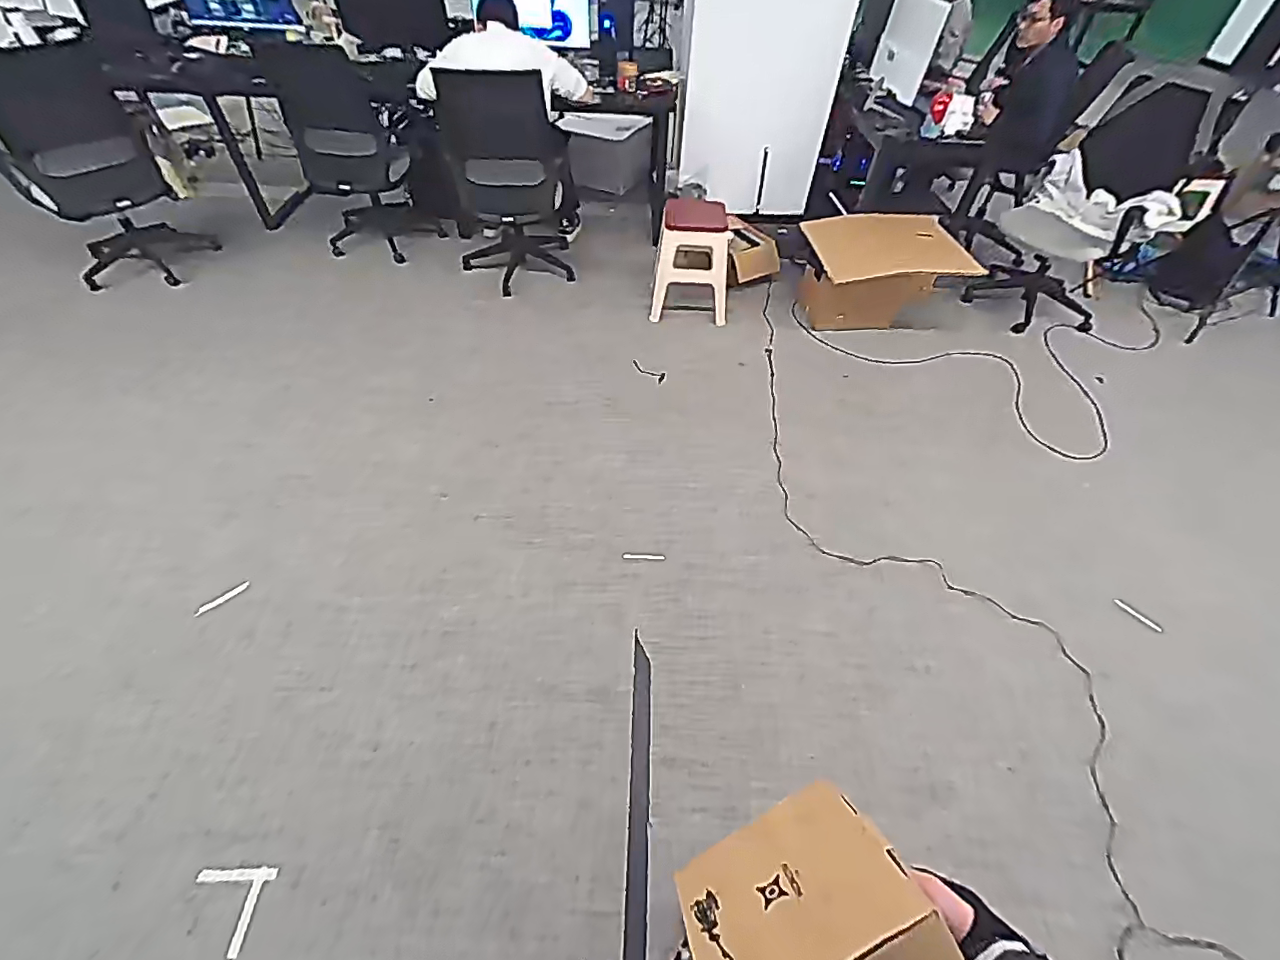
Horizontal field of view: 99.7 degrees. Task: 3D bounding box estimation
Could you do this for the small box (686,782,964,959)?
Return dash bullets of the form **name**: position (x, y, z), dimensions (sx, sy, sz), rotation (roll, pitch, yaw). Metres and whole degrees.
- **small box**: position (0.164, 0.411, 0.454), dimensions (0.179, 0.168, 0.176), rotation (-28, 92, -6)
